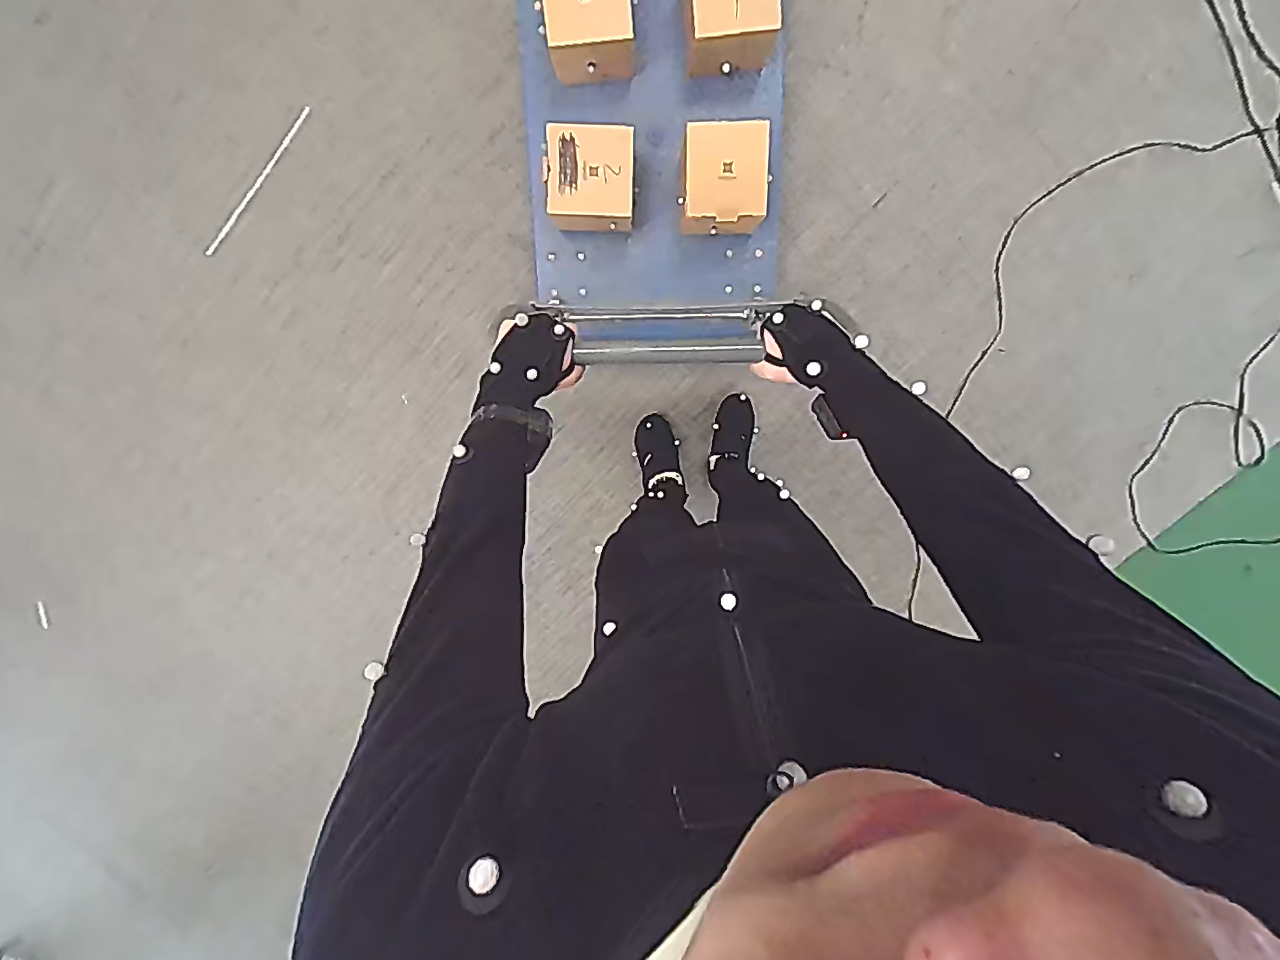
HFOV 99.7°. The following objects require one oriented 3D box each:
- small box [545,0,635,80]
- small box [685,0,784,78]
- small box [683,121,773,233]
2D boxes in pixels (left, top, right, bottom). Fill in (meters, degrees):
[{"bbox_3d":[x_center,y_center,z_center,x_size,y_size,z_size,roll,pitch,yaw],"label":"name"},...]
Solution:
[{"bbox_3d":[-0.097,-0.927,1.075,0.168,0.176,0.179,-5,105,0],"label":"small box"},{"bbox_3d":[0.181,-0.942,1.073,0.168,0.176,0.179,-5,106,2],"label":"small box"},{"bbox_3d":[0.180,-0.638,1.157,0.168,0.176,0.179,-1,106,0],"label":"small box"}]
